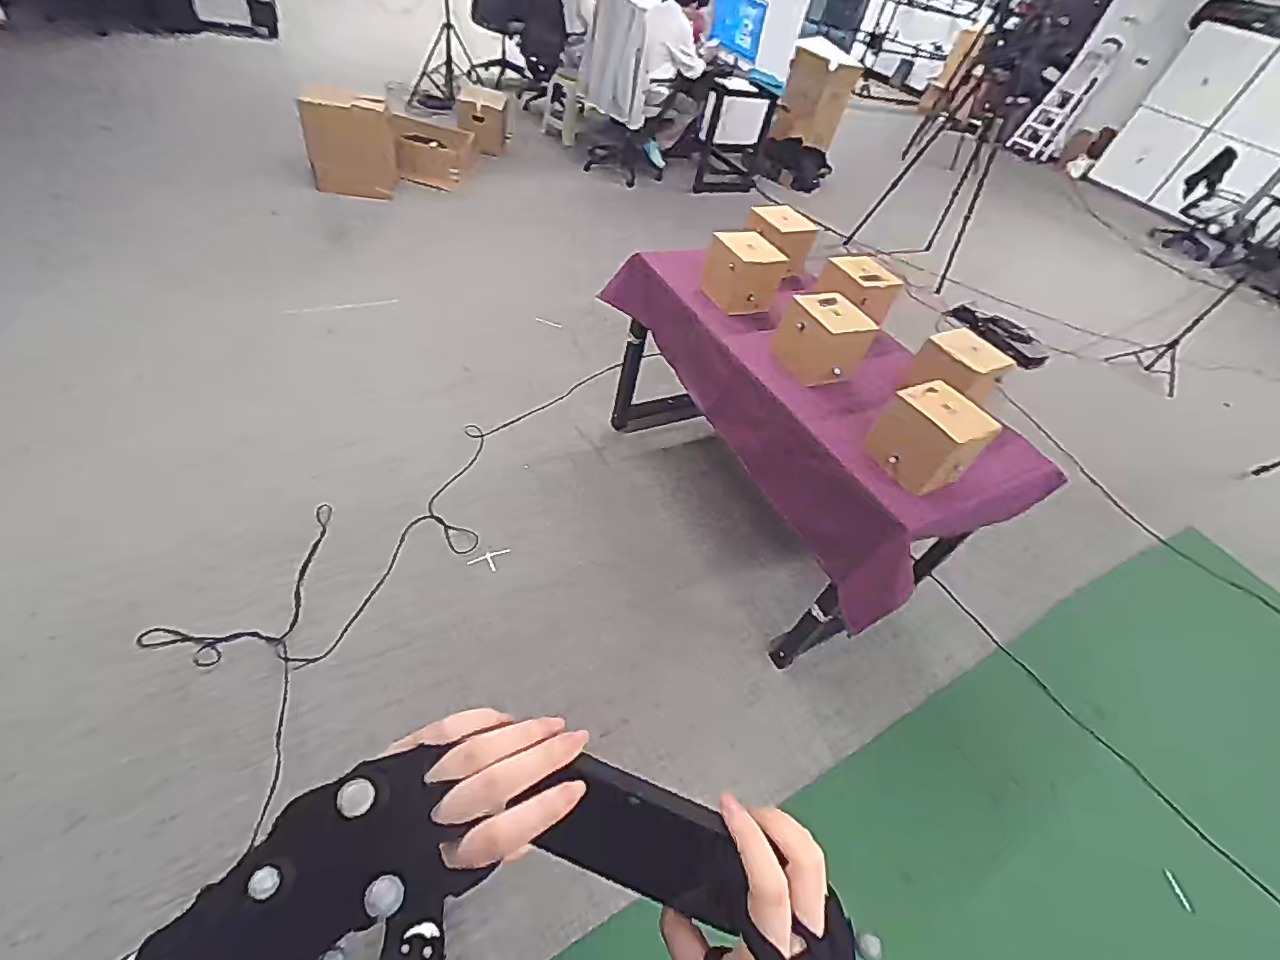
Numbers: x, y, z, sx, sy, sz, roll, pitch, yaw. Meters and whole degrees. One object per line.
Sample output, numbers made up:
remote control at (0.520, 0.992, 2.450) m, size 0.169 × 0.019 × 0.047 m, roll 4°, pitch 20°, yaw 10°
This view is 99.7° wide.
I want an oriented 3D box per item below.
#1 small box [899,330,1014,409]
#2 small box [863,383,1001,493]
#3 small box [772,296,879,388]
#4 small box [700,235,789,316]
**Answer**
small box at (0.836, -0.274, 1.446) m, size 0.179 × 0.176 × 0.168 m, roll -18°, pitch 54°, yaw -28°
small box at (0.649, -0.090, 1.222) m, size 0.168 × 0.176 × 0.179 m, roll -16°, pitch 54°, yaw -28°
small box at (0.483, -0.369, 1.439) m, size 0.168 × 0.176 × 0.179 m, roll -12°, pitch 53°, yaw -25°
small box at (0.304, -0.613, 1.620) m, size 0.168 × 0.176 × 0.179 m, roll -14°, pitch 54°, yaw -26°
